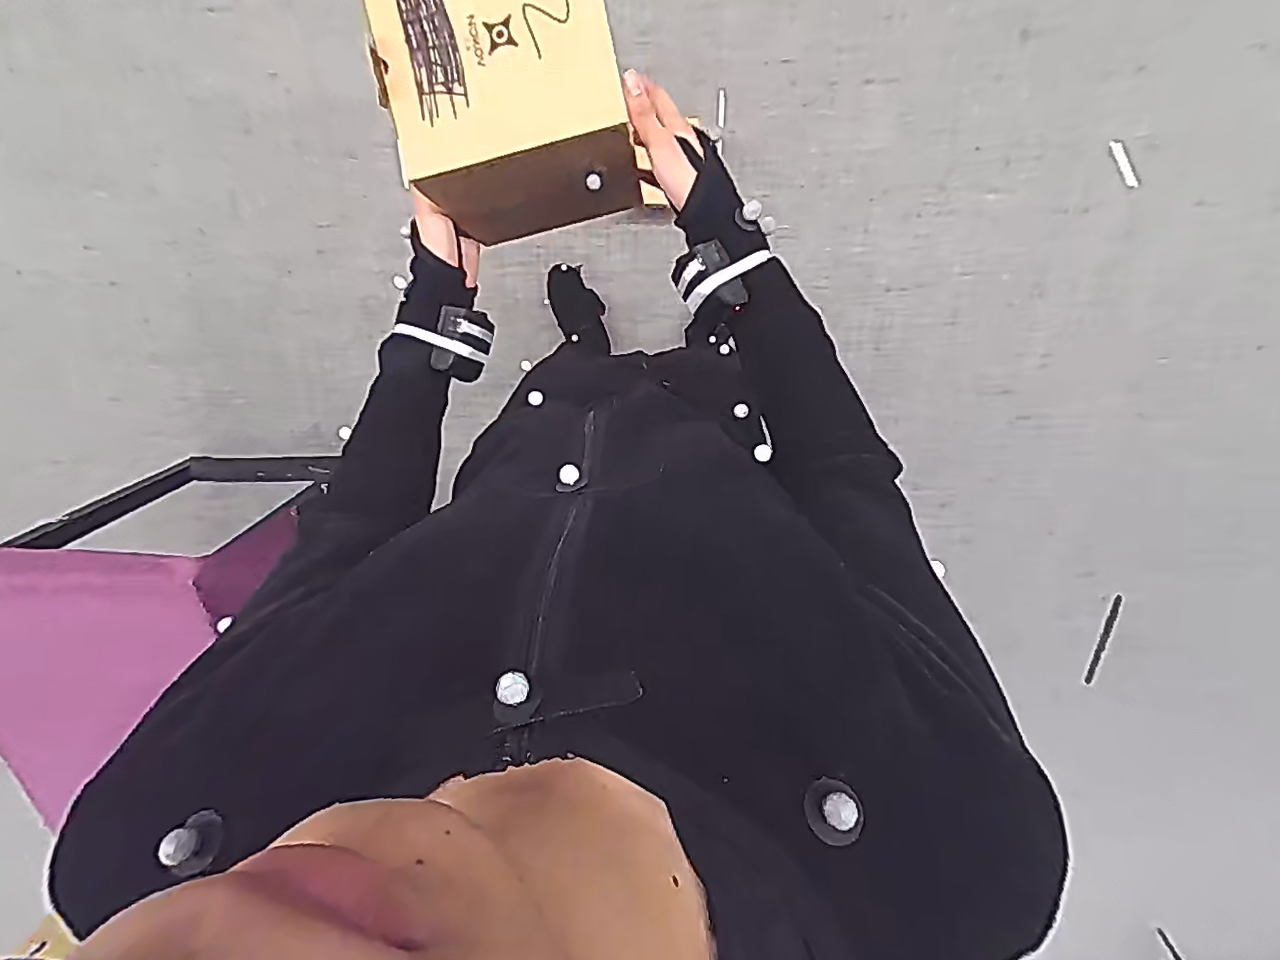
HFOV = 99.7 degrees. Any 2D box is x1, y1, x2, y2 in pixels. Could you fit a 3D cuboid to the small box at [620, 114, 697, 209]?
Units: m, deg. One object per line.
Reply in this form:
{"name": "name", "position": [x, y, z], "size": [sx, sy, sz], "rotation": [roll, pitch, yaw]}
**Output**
{"name": "small box", "position": [0.041, -0.753, 1.295], "size": [0.168, 0.176, 0.179], "rotation": [3, 113, -1]}

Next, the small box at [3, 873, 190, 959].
{"name": "small box", "position": [-1.044, 0.900, 1.049], "size": [0.179, 0.176, 0.168], "rotation": [-5, 114, 3]}
